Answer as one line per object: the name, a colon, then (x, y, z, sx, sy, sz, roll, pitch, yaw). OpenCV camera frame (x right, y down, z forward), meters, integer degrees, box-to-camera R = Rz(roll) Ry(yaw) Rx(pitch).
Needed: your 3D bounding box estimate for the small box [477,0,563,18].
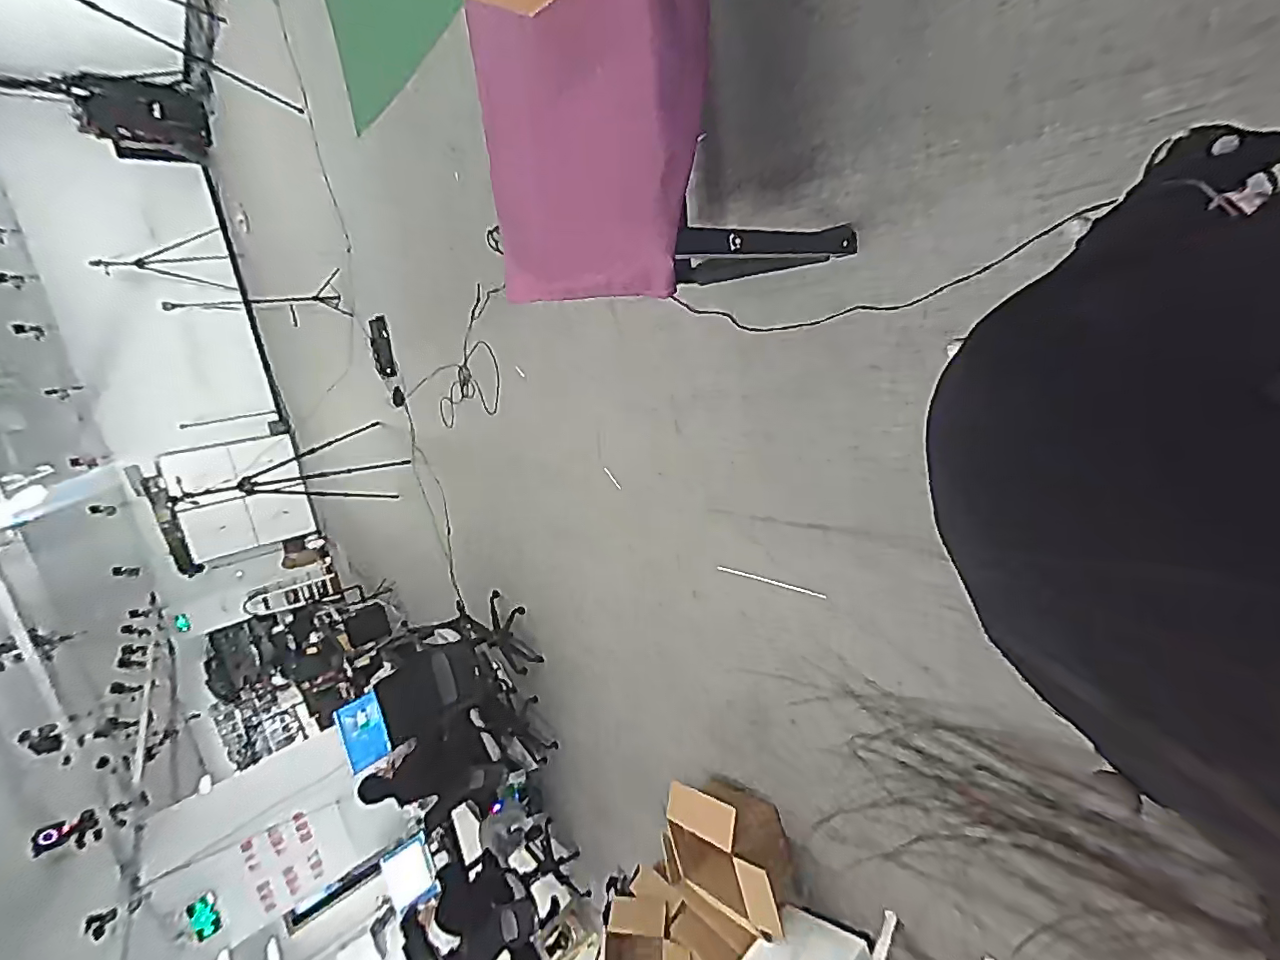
small box: (-0.221, -0.979, 0.974, 0.179, 0.176, 0.168, 16, 118, 46)
